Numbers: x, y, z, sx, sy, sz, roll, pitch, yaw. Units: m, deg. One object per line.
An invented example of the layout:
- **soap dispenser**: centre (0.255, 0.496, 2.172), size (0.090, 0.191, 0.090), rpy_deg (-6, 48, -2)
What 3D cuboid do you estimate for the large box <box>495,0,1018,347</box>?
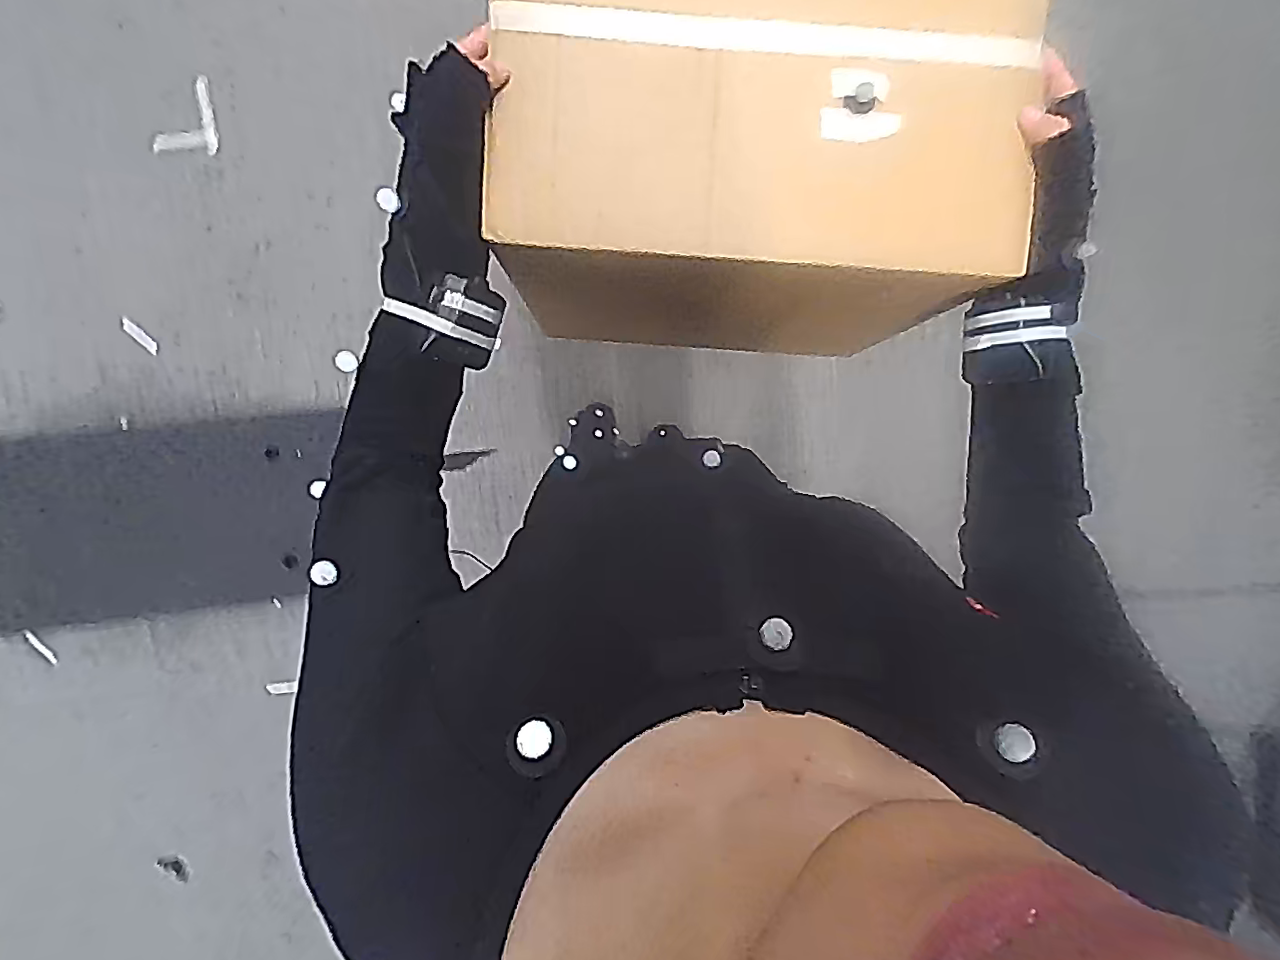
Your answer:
- **large box**: centre (0.084, -0.328, 0.561), size (0.408, 0.320, 0.320), rpy_deg (2, 92, -2)
